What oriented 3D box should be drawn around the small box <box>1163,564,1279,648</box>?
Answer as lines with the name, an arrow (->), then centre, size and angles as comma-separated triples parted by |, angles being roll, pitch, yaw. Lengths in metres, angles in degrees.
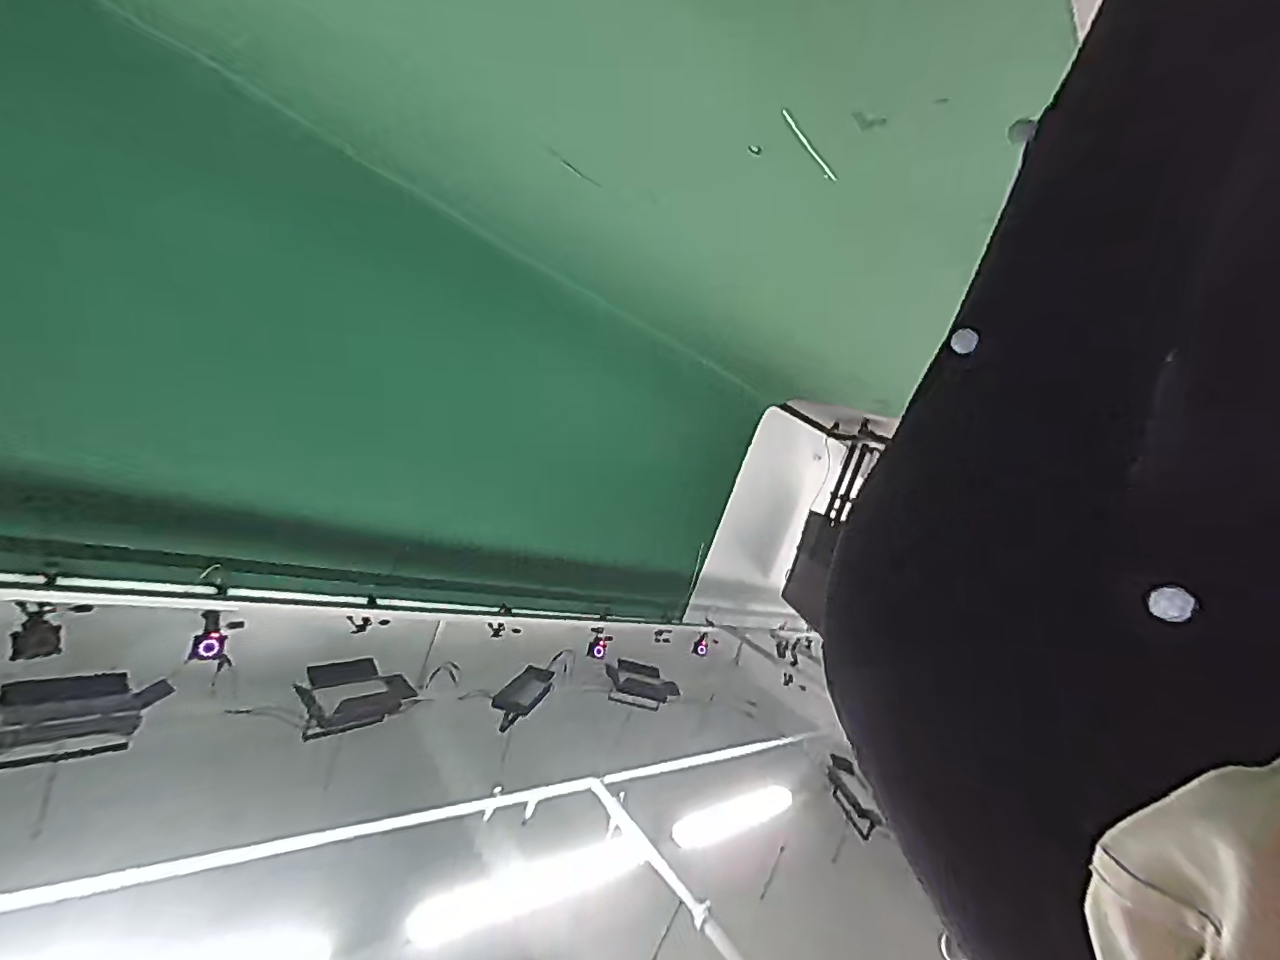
small box -> 1.557, 0.332, 1.451 | 0.168, 0.176, 0.179 | 23, -176, 38
